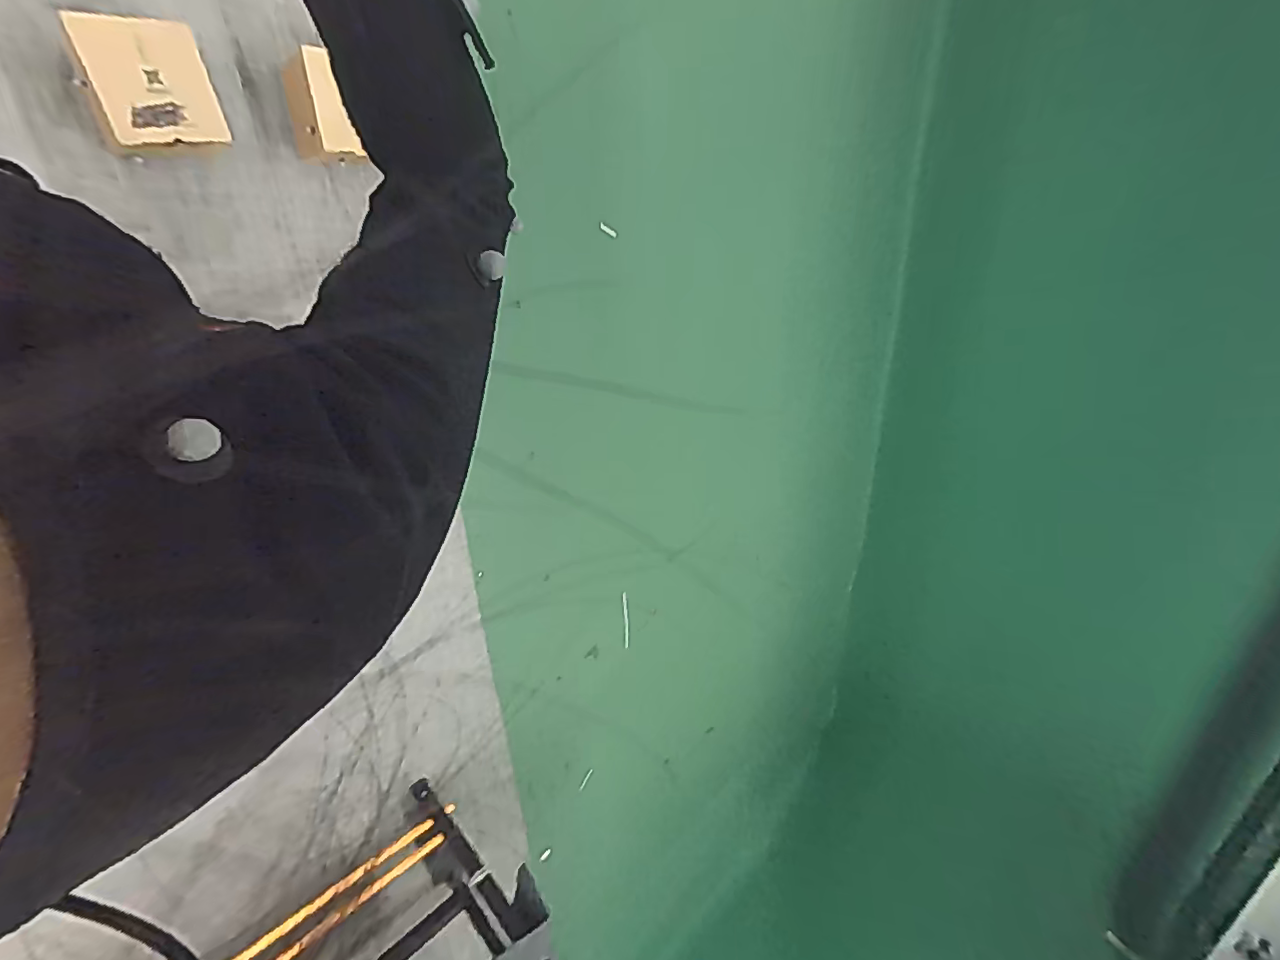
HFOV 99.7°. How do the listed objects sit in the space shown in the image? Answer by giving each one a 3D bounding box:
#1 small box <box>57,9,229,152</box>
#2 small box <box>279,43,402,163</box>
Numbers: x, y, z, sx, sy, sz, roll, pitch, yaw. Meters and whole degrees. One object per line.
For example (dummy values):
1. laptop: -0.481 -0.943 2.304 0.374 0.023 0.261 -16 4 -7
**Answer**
1. small box: -0.869 -0.686 0.954 0.168 0.176 0.179 -30 125 -37
2. small box: -0.642 -0.793 1.157 0.168 0.176 0.179 -23 123 -39
